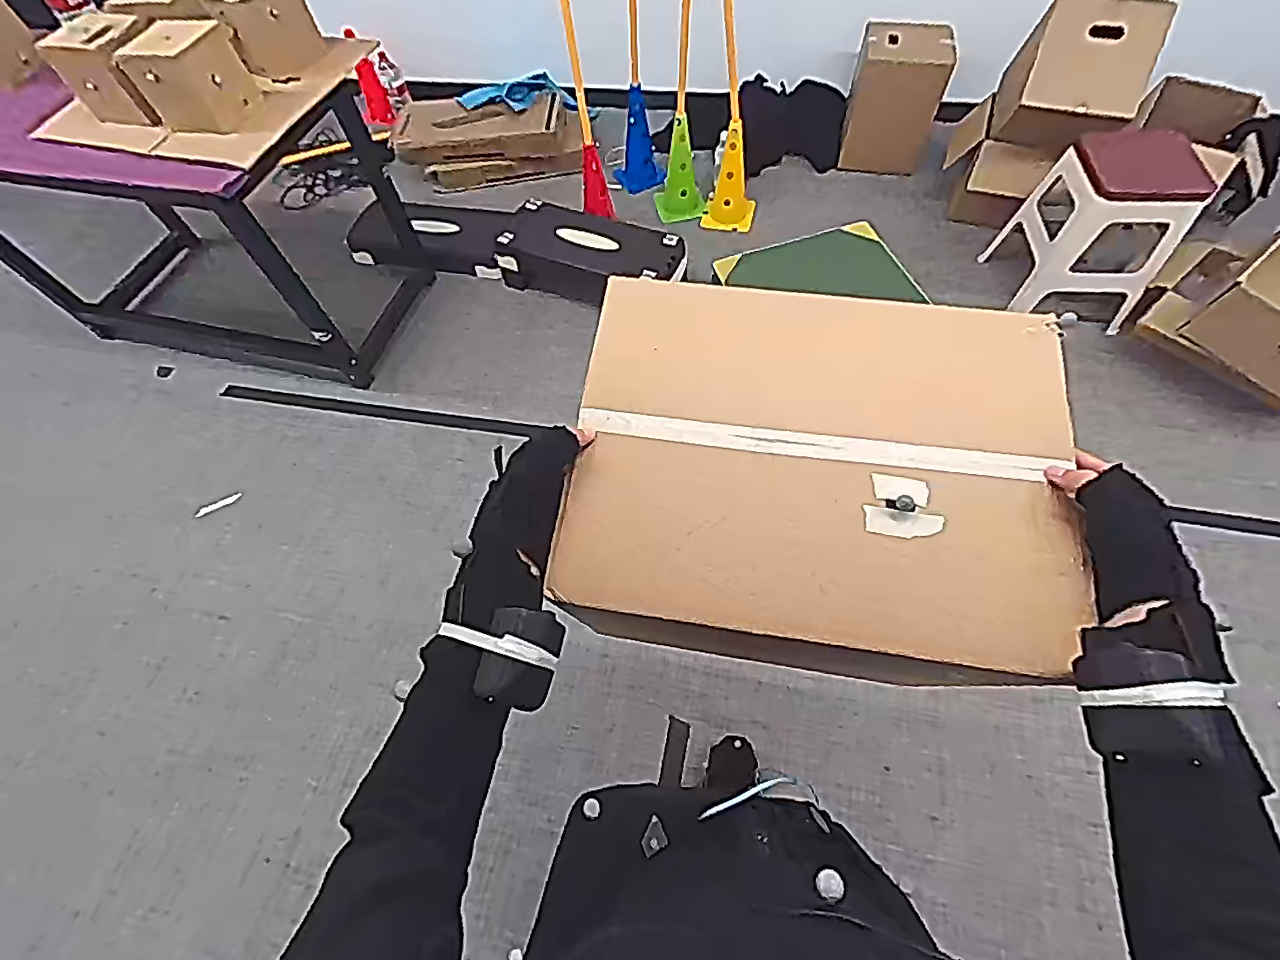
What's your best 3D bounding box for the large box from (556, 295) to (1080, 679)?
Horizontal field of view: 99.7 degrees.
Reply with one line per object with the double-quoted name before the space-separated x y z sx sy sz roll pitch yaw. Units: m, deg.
"large box" 0.152 0.032 0.602 0.408 0.320 0.320 7 71 5
